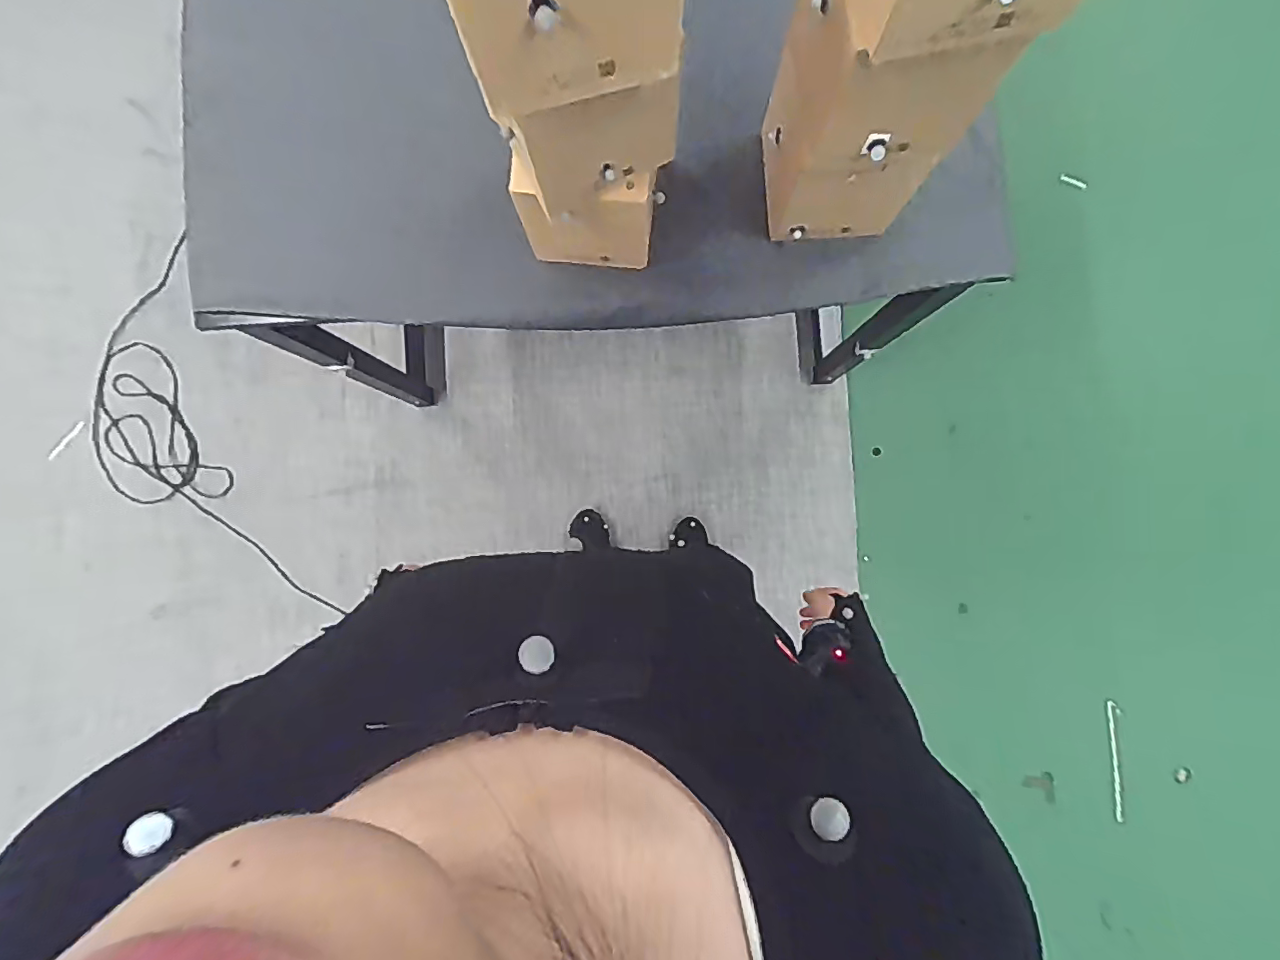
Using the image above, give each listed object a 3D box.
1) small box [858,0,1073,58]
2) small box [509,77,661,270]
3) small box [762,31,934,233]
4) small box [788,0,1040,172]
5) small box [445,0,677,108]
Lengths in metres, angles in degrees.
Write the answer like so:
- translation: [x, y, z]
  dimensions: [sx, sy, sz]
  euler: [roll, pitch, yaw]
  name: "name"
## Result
- translation: [0.258, -0.461, 0.386]
  dimensions: [0.168, 0.176, 0.179]
  euler: [-10, 85, 2]
  name: "small box"
- translation: [-0.065, -0.408, 0.717]
  dimensions: [0.168, 0.176, 0.179]
  euler: [5, 85, 1]
  name: "small box"
- translation: [0.262, -0.447, 0.714]
  dimensions: [0.168, 0.176, 0.179]
  euler: [-3, 84, 1]
  name: "small box"
- translation: [0.258, -0.456, 0.552]
  dimensions: [0.168, 0.176, 0.179]
  euler: [-7, 86, 2]
  name: "small box"
- translation: [-0.069, -0.410, 0.389]
  dimensions: [0.168, 0.176, 0.179]
  euler: [-16, 86, 0]
  name: "small box"
